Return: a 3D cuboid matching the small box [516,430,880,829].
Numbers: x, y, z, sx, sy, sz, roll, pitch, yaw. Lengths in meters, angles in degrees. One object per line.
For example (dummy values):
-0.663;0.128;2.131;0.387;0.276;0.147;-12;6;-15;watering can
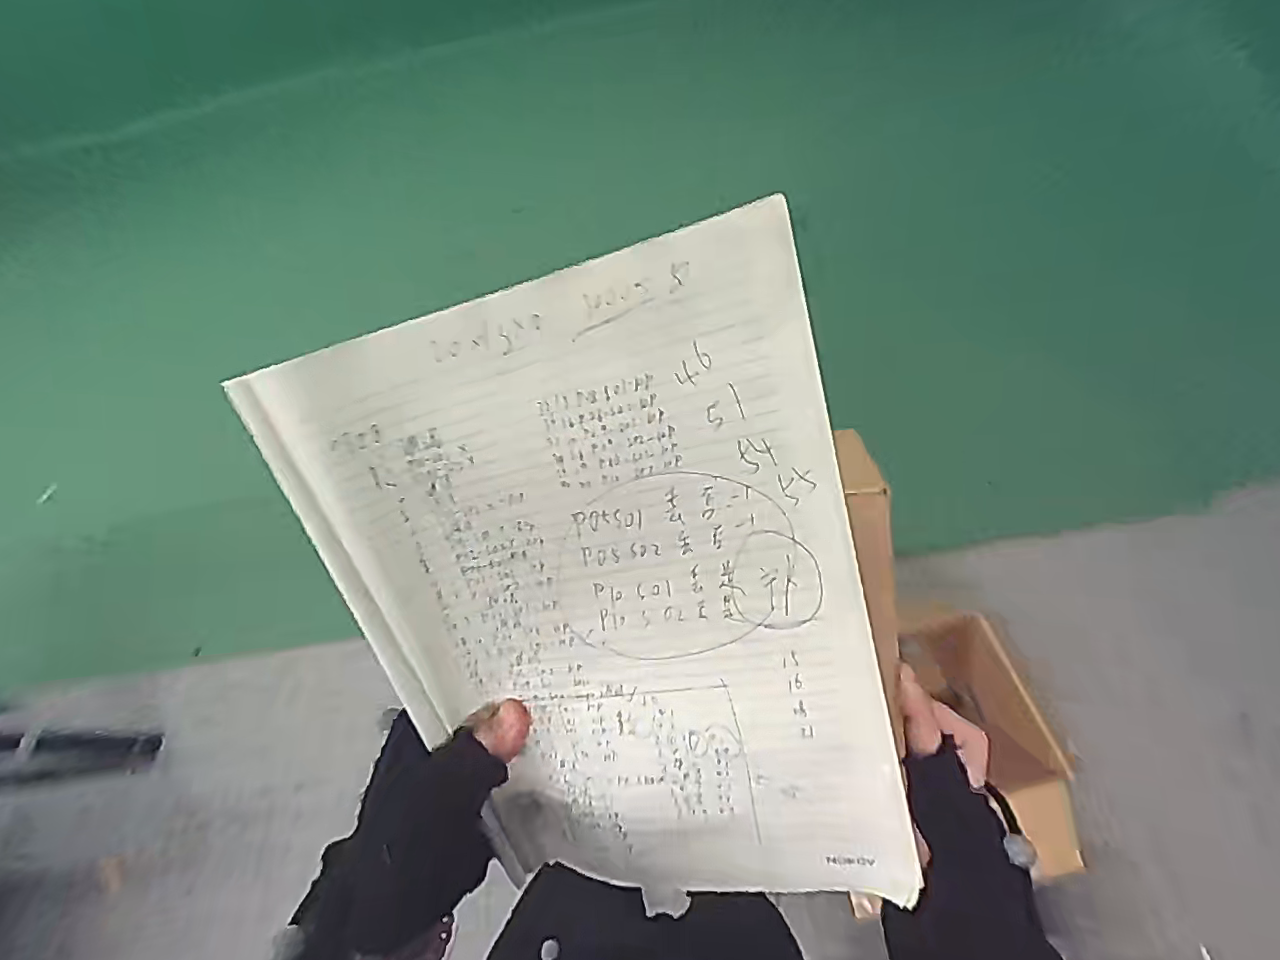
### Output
0.049;0.073;0.342;0.168;0.176;0.179;-6;101;17;small box
